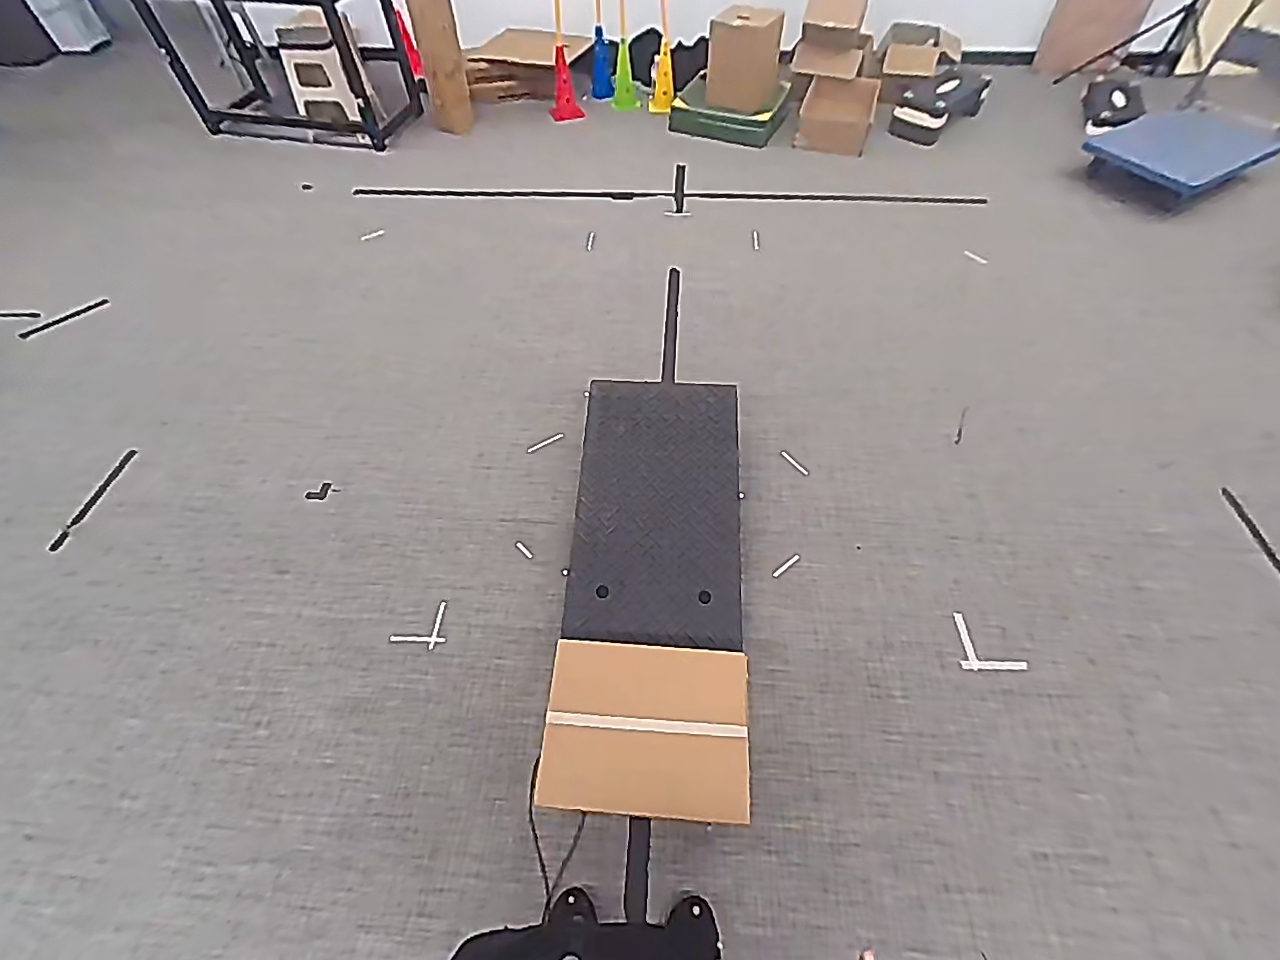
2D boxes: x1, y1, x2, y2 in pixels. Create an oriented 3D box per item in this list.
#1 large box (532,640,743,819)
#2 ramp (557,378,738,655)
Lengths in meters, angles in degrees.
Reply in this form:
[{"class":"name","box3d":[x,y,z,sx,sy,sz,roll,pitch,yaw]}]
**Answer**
[{"class":"large box","box3d":[0.005,0.563,1.214,0.408,0.320,0.320,4,58,2]},{"class":"ramp","box3d":[0.041,0.122,1.606,0.509,0.206,0.991,2,55,0]}]
